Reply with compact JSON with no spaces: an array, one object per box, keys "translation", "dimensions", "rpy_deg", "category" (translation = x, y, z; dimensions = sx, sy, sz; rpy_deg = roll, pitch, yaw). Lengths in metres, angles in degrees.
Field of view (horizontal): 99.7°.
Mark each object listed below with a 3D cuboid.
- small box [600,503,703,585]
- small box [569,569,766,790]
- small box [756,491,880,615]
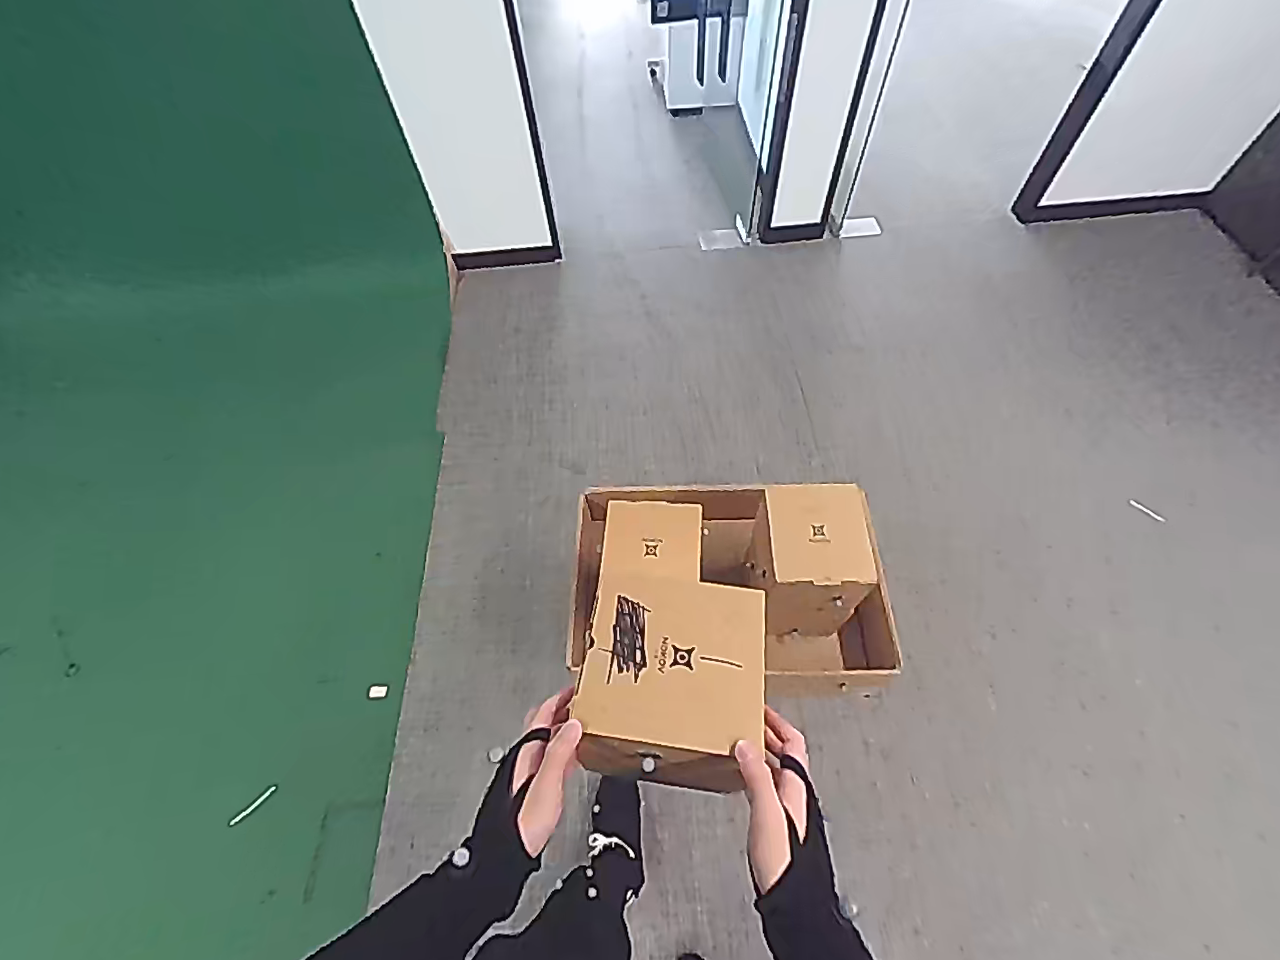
[{"translation":[0.027,0.160,0.969],"dimensions":[0.168,0.176,0.179],"rpy_deg":[2,58,5],"category":"small box"},{"translation":[0.034,0.218,0.586],"dimensions":[0.179,0.176,0.168],"rpy_deg":[7,51,6],"category":"small box"},{"translation":[0.306,0.135,0.967],"dimensions":[0.168,0.176,0.179],"rpy_deg":[1,58,2],"category":"small box"}]
